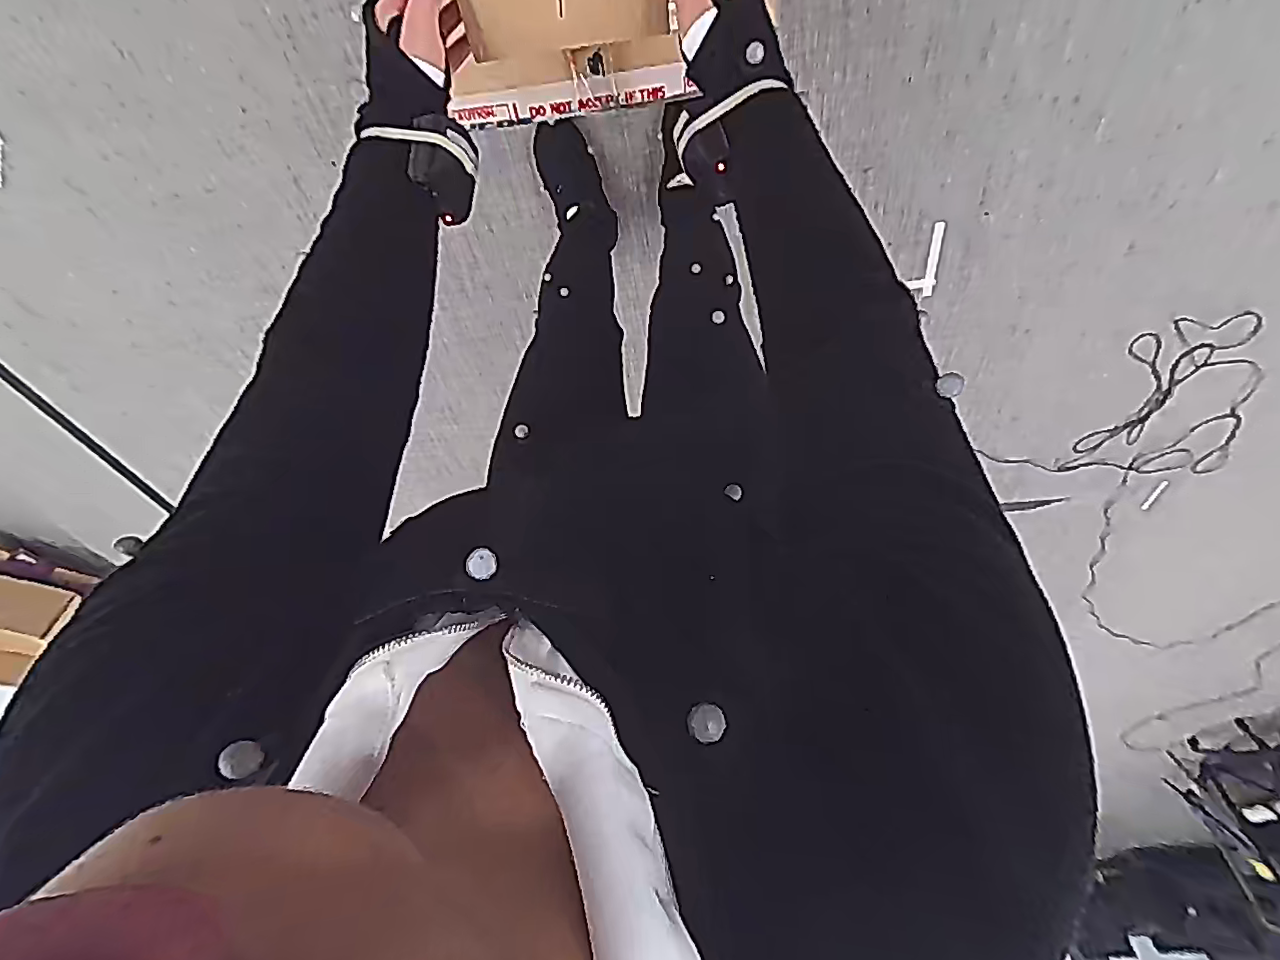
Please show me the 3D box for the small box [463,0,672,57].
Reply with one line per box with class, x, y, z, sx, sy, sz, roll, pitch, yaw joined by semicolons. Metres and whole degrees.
small box;-0.065;-0.476;0.437;0.168;0.176;0.179;-4;139;5
